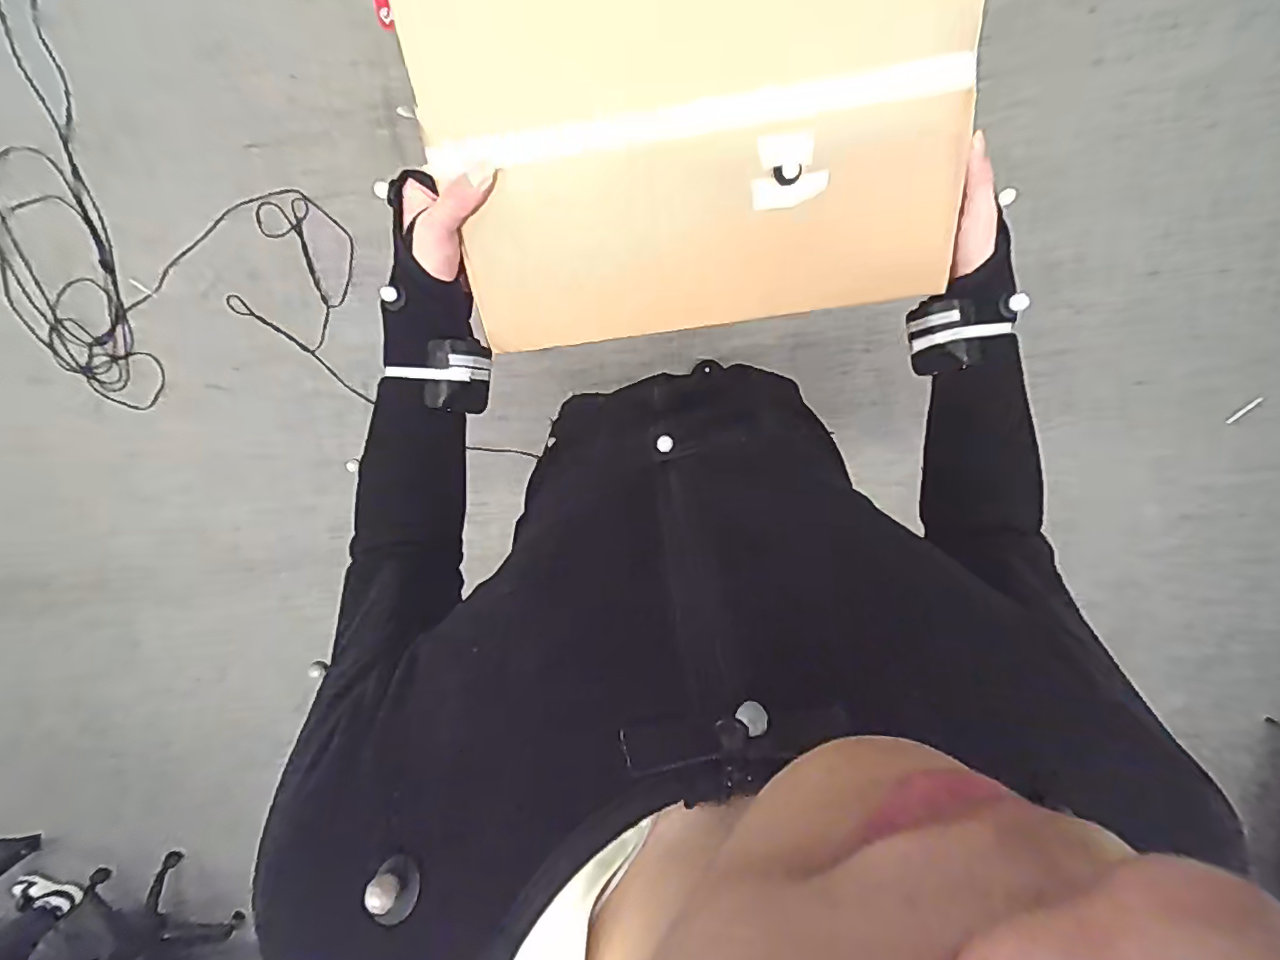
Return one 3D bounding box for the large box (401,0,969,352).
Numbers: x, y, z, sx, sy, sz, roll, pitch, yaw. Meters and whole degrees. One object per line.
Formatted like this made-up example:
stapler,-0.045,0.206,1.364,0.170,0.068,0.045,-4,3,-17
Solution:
large box,0.039,-0.347,0.547,0.408,0.320,0.320,-7,119,3
